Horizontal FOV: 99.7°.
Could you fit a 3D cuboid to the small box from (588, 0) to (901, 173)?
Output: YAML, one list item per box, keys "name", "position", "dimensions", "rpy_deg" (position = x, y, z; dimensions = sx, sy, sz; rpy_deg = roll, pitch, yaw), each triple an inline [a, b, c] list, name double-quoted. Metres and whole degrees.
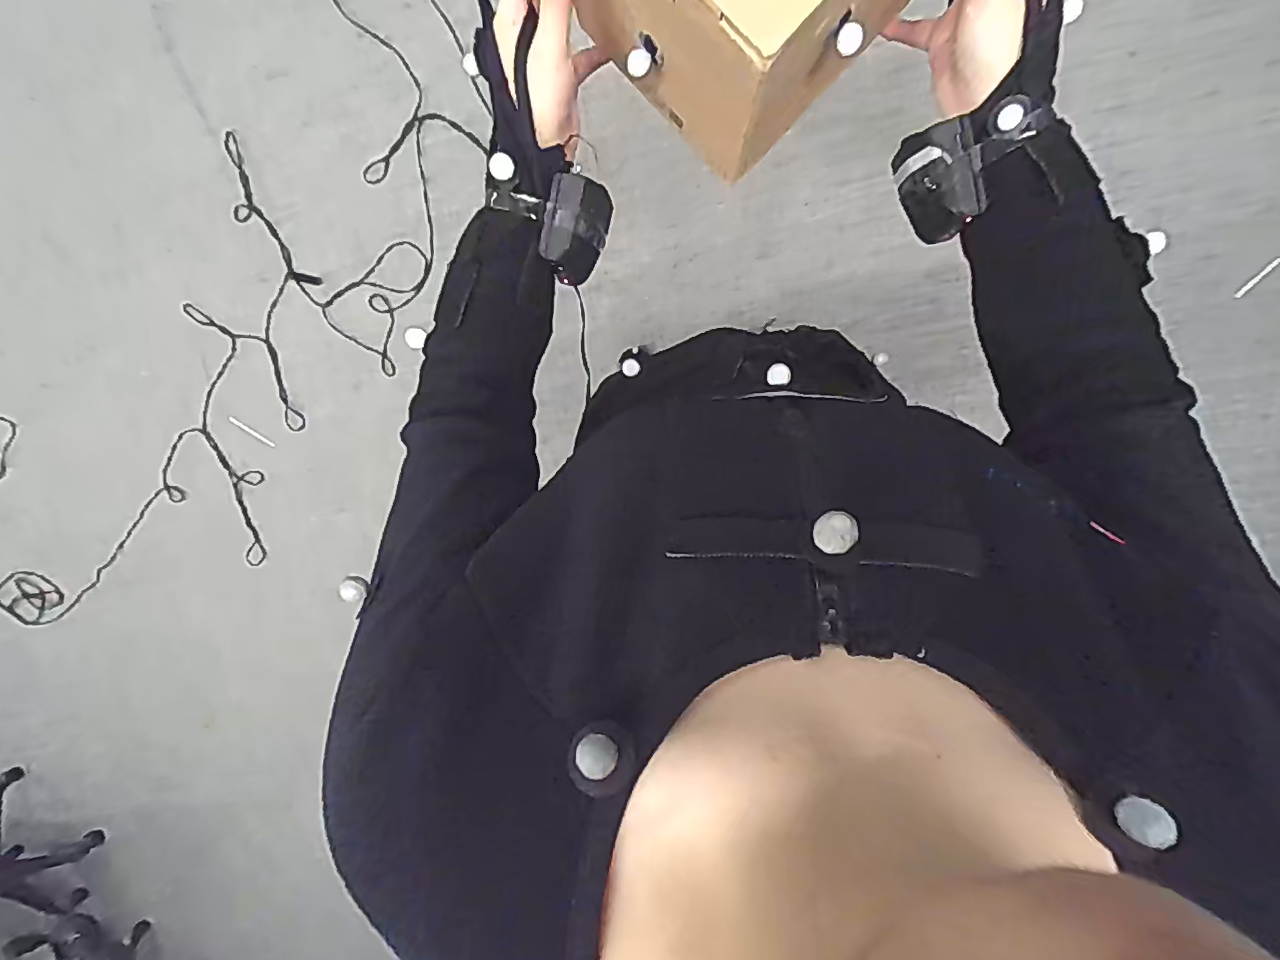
- name: "small box"
  position: [0.068, -0.326, 0.317]
  dimensions: [0.168, 0.176, 0.179]
  rpy_deg: [45, 102, -4]
